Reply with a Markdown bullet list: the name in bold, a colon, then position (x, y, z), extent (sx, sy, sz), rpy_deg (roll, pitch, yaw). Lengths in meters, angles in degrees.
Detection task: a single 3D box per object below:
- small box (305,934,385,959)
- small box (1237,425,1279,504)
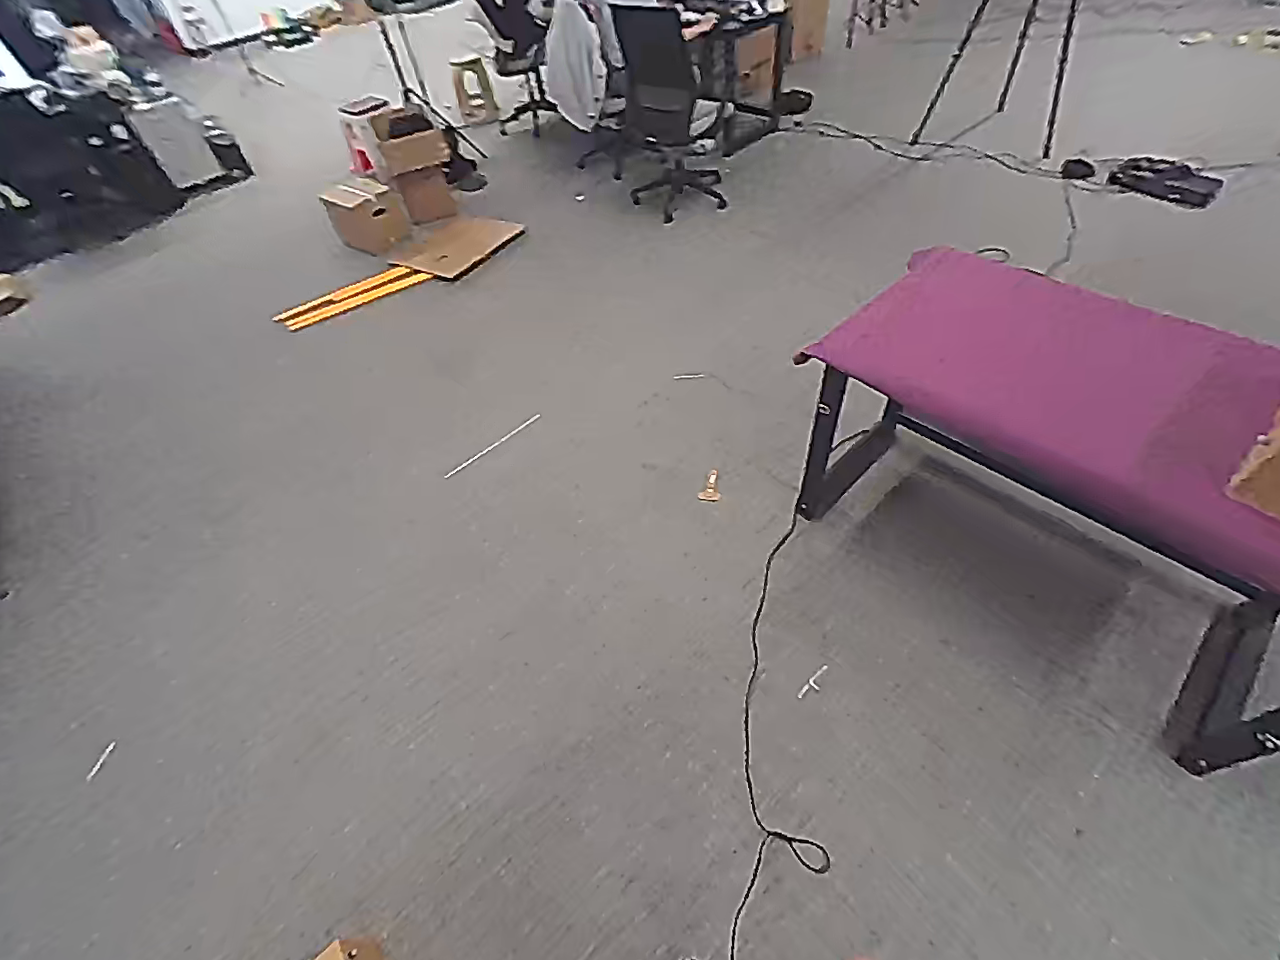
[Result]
- **small box**: position (-0.652, 1.118, 1.157), extent (0.168, 0.176, 0.179), rpy_deg (-35, 54, -19)
- **small box**: position (1.159, -0.039, 0.883), extent (0.168, 0.176, 0.179), rpy_deg (-36, 54, -20)
